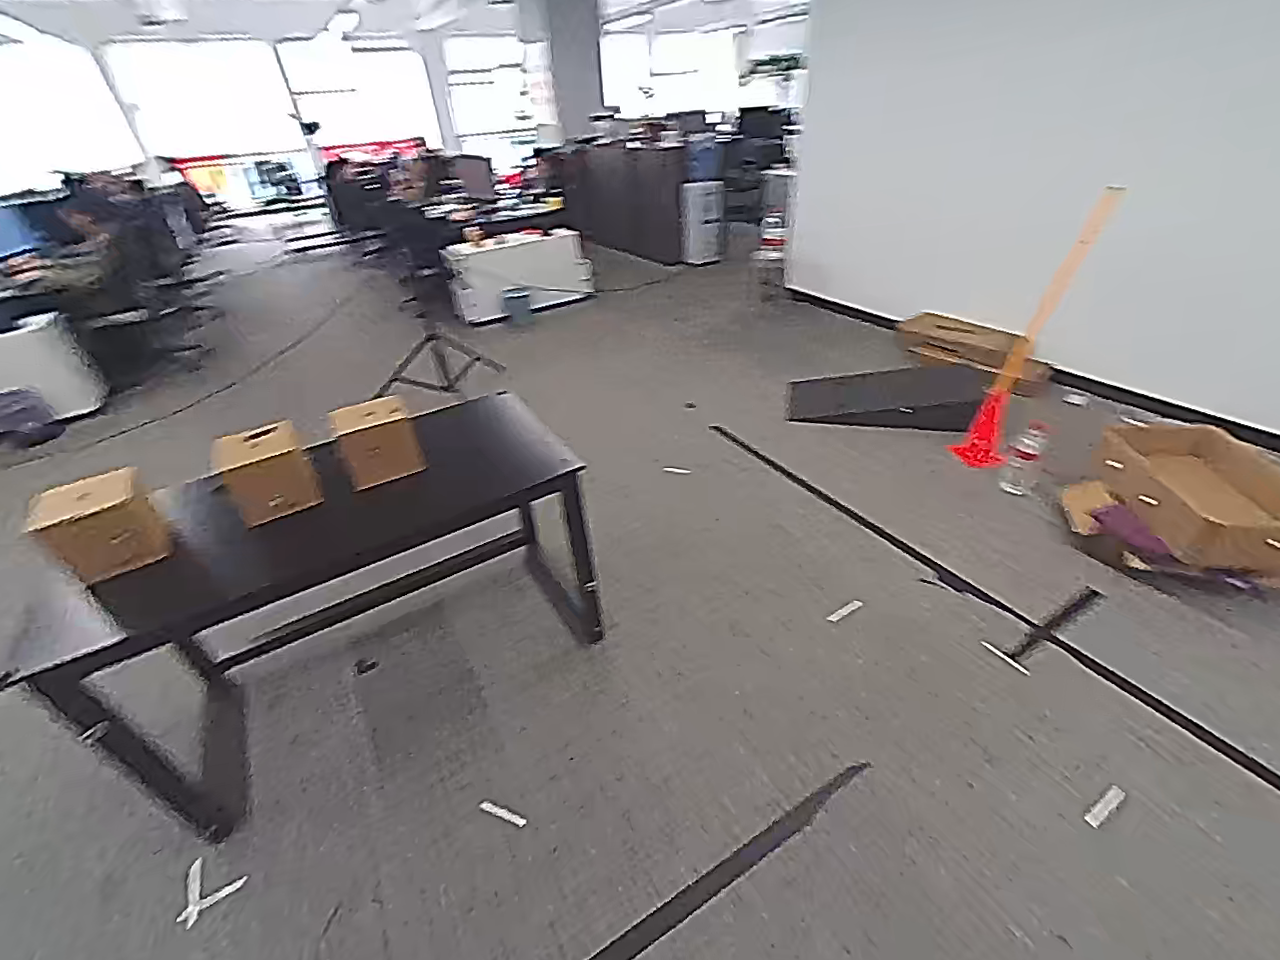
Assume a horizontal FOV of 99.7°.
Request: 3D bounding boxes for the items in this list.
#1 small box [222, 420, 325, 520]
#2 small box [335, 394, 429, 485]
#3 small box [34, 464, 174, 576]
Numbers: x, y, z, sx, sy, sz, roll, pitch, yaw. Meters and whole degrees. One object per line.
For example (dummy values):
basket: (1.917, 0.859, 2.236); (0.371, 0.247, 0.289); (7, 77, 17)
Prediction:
small box: (-0.926, -0.026, 1.373); (0.168, 0.176, 0.179); (-23, 40, -24)
small box: (-0.700, -0.110, 1.471); (0.179, 0.176, 0.168); (-21, 38, -22)
small box: (-1.200, 0.094, 1.228); (0.168, 0.176, 0.179); (-23, 39, -27)
